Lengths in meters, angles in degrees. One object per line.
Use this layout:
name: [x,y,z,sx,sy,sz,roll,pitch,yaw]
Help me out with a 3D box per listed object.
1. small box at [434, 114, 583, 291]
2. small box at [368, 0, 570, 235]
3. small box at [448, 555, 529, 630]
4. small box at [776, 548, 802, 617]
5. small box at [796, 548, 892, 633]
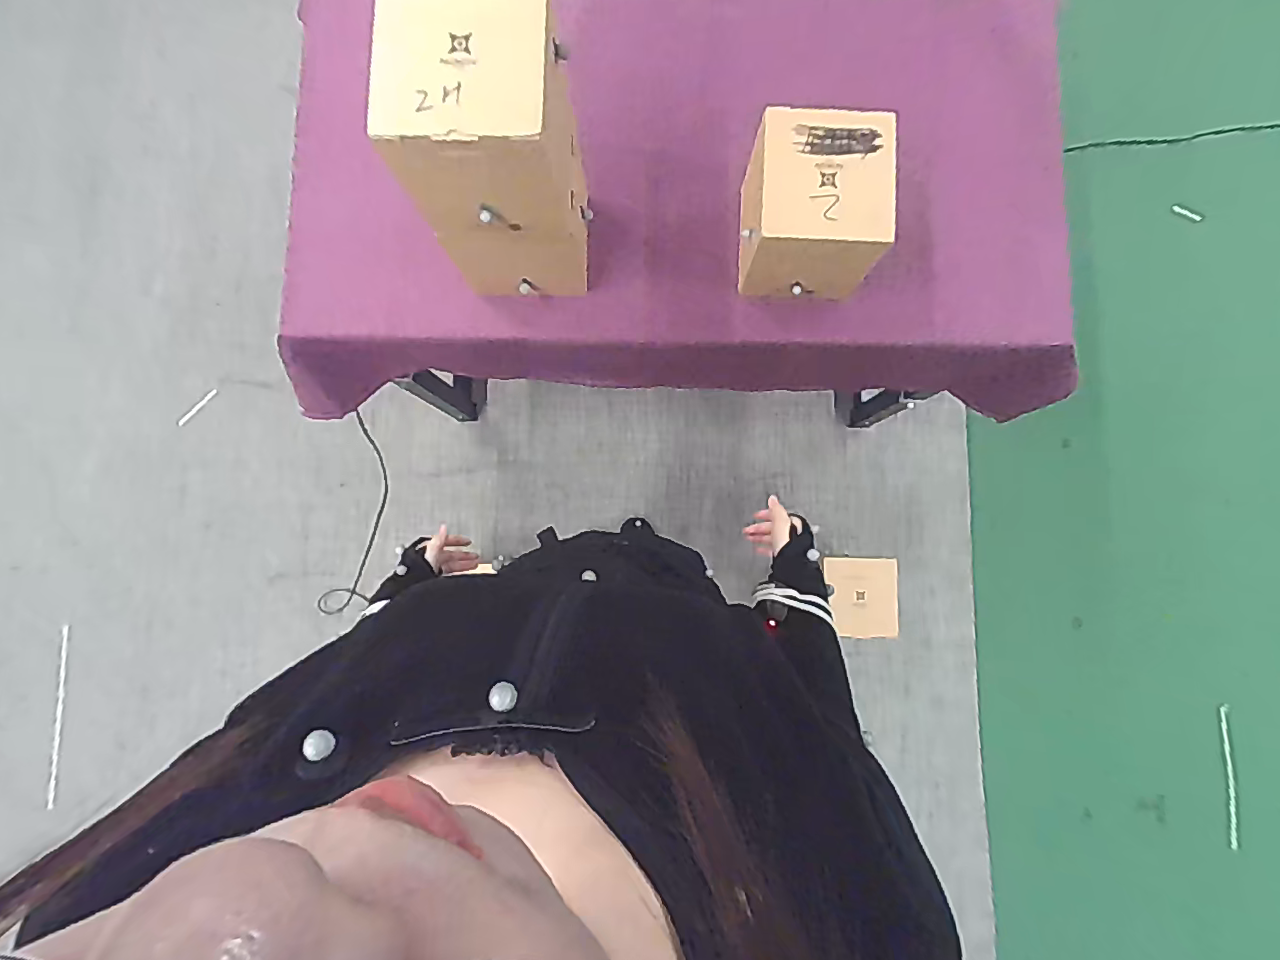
small box: [-0.171,-0.378,0.757,0.179,0.176,0.168,0,84,-1]
small box: [-0.171,-0.398,0.593,0.168,0.176,0.179,1,85,1]
small box: [-0.394,0.292,1.430,0.168,0.176,0.179,2,84,0]
small box: [0.464,0.269,1.434,0.179,0.176,0.168,-1,85,-1]
small box: [0.473,0.254,1.272,0.168,0.176,0.179,2,85,-2]
